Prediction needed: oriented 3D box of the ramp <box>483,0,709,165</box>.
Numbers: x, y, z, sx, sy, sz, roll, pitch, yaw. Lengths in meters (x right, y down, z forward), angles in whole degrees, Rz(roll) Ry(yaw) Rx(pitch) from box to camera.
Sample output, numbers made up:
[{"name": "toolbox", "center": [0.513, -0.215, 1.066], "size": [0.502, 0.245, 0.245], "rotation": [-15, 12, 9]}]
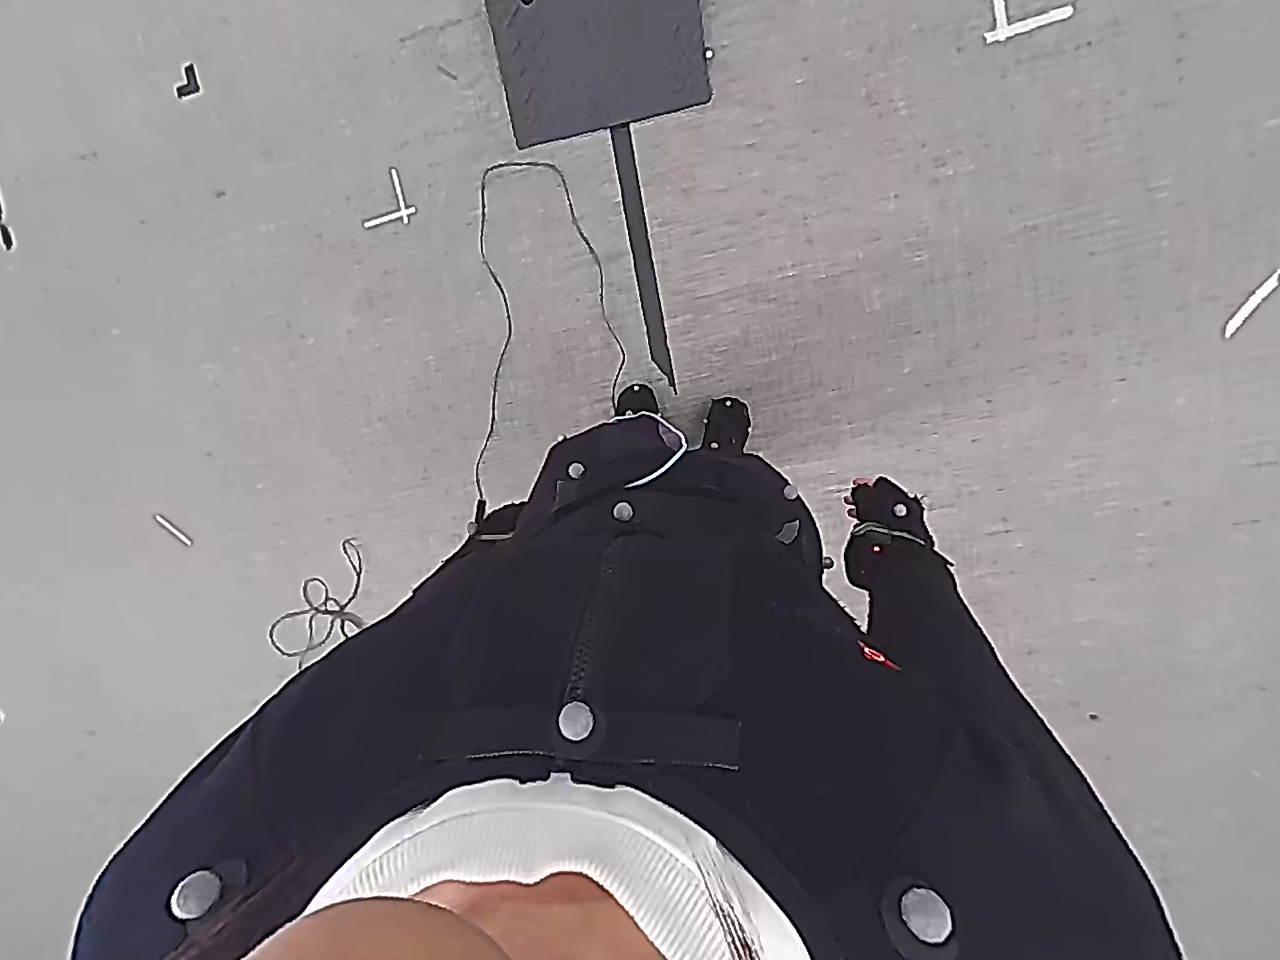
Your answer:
[{"name": "ramp", "center": [-0.163, -1.312, 1.210], "size": [0.509, 0.206, 0.991], "rotation": [-11, 97, 9]}]
